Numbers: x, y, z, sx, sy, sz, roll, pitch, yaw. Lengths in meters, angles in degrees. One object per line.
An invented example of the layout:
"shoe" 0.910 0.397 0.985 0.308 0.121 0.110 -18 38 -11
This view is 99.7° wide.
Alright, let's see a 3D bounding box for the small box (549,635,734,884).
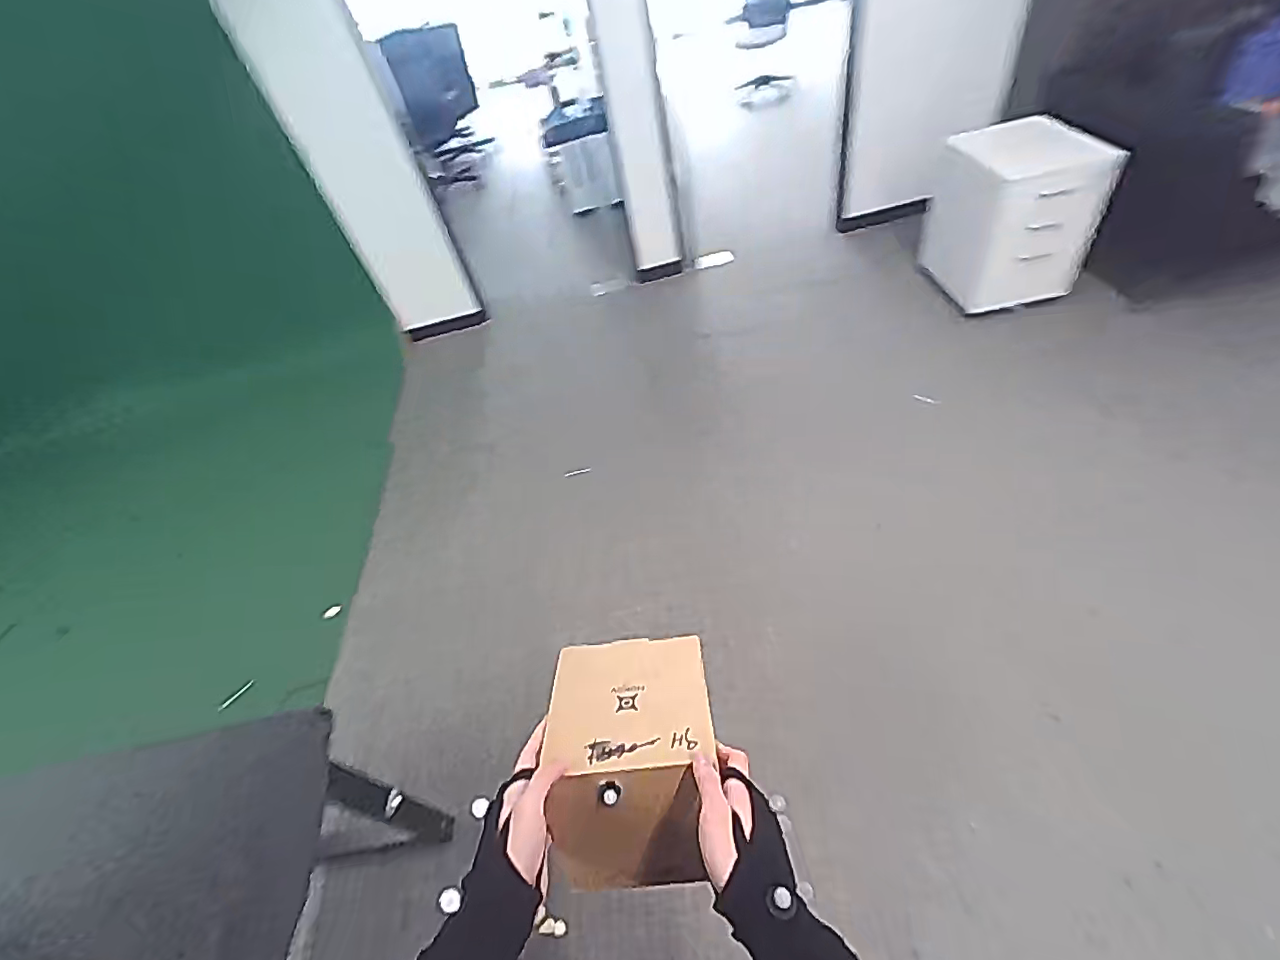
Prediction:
"small box" 0.008 0.297 0.593 0.168 0.176 0.179 -6 22 4
